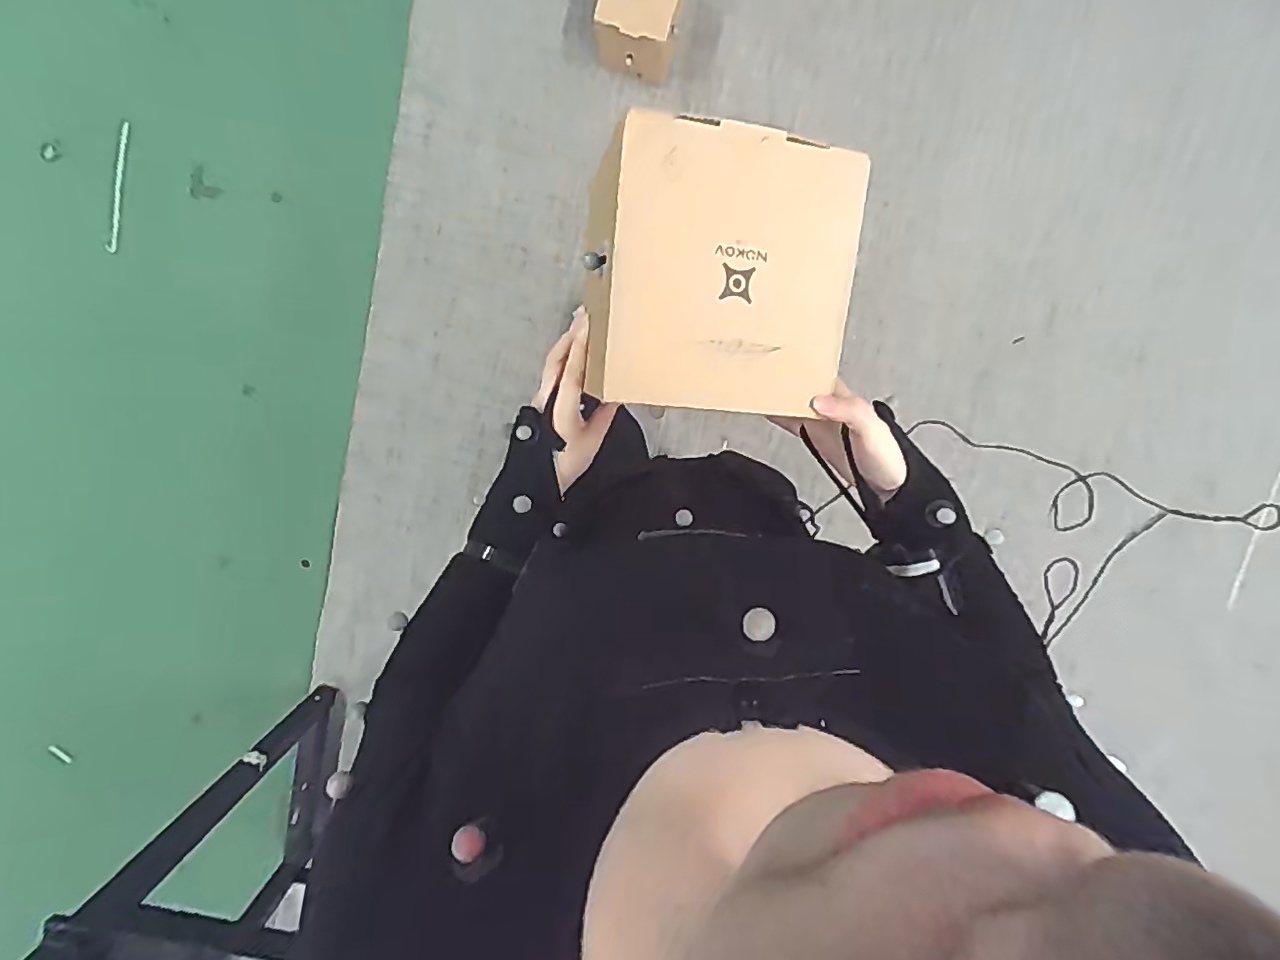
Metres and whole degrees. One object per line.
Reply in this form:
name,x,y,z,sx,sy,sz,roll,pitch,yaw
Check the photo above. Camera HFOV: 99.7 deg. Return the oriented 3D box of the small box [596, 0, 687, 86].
small box,0.008,-1.051,1.231,0.168,0.176,0.179,17,99,-2
